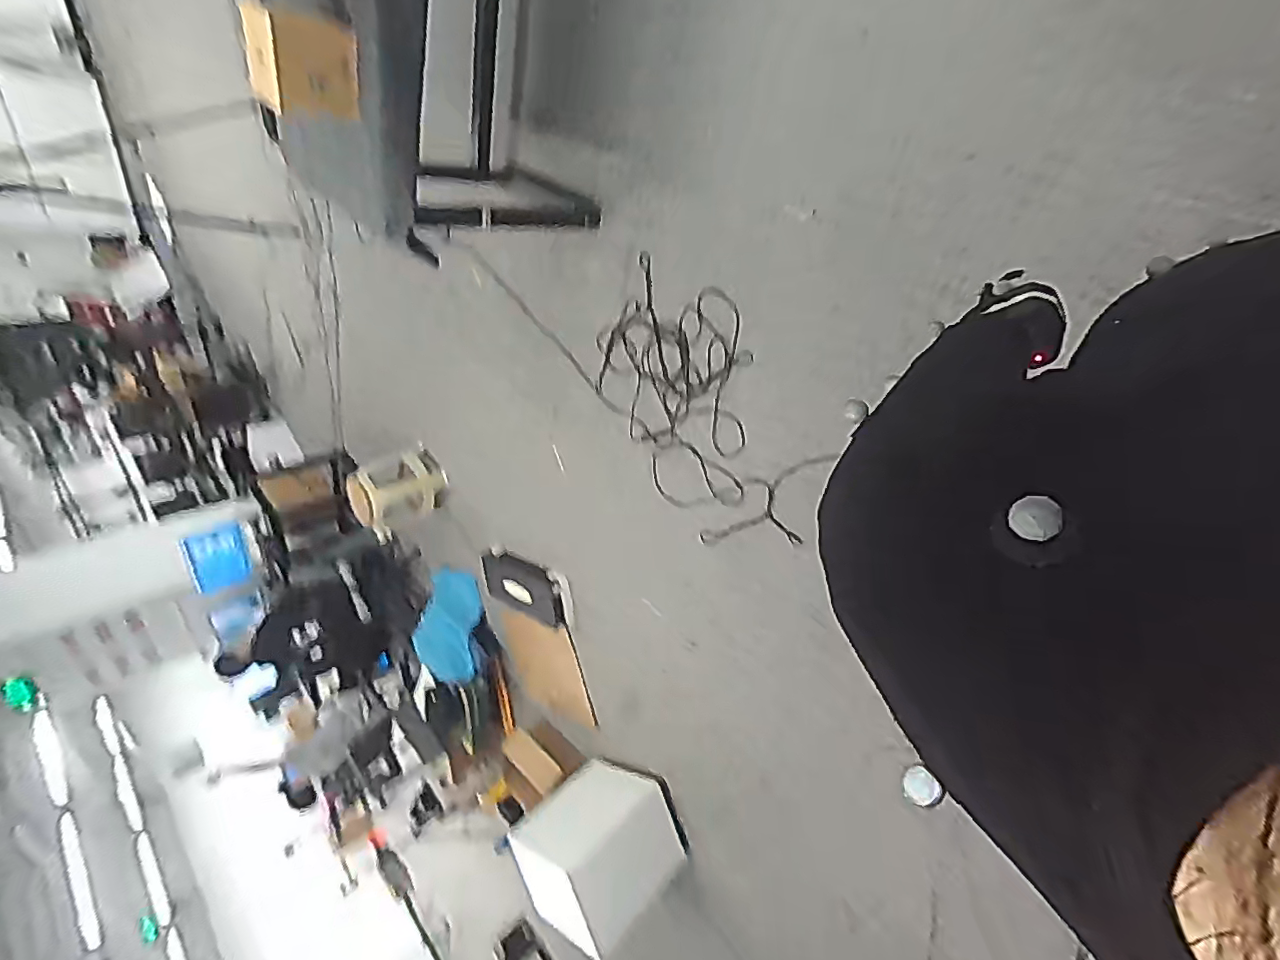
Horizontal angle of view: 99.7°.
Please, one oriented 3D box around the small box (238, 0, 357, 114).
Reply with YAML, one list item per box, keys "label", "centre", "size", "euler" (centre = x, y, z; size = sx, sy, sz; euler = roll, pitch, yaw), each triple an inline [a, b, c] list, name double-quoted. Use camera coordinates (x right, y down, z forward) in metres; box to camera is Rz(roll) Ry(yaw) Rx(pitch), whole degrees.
- label: "small box"
  centre: [-0.729, -0.913, 1.169]
  size: [0.179, 0.176, 0.168]
  euler: [41, 133, 27]
